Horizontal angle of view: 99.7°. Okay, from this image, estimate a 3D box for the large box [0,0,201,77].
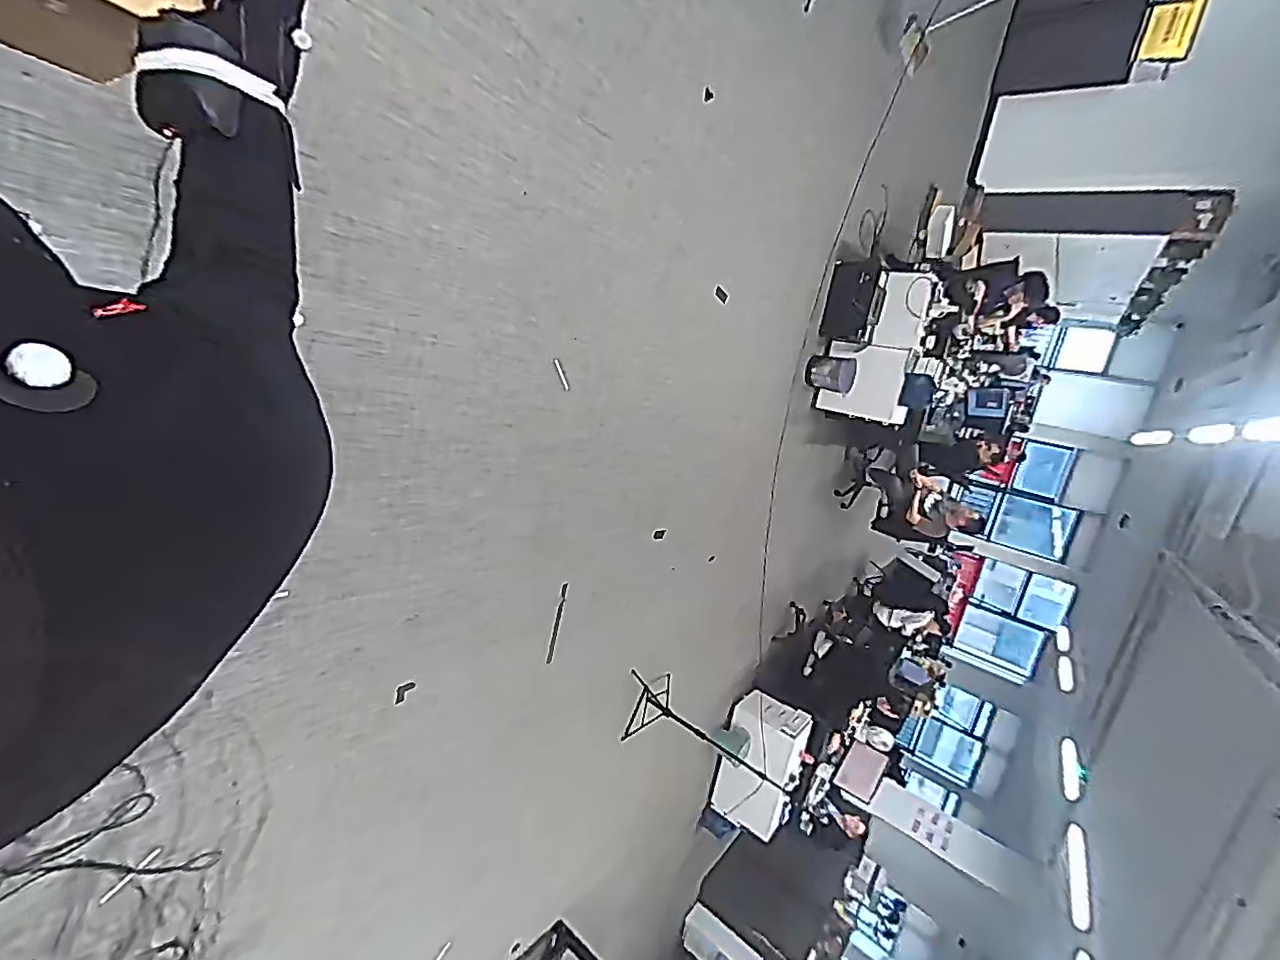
[{"bbox_3d":[-0.518,-0.497,0.279,0.408,0.320,0.320,-2,111,-55],"label":"large box"}]
